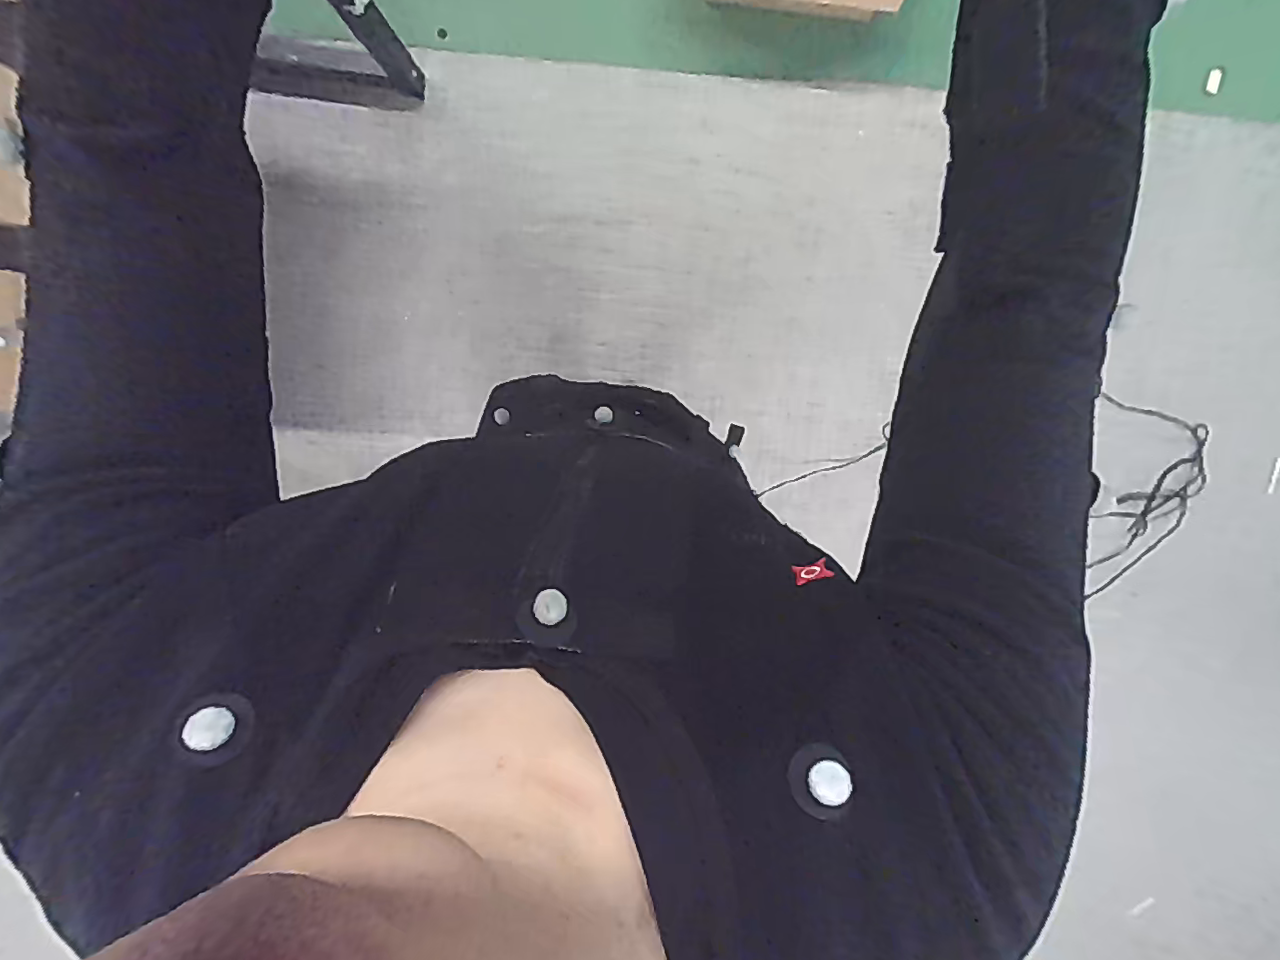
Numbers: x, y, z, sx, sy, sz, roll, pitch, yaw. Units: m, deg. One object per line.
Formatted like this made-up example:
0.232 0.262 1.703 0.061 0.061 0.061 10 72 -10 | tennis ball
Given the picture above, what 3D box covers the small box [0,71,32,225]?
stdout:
-0.801 -0.375 0.560 0.179 0.176 0.168 3 100 -1 | small box
